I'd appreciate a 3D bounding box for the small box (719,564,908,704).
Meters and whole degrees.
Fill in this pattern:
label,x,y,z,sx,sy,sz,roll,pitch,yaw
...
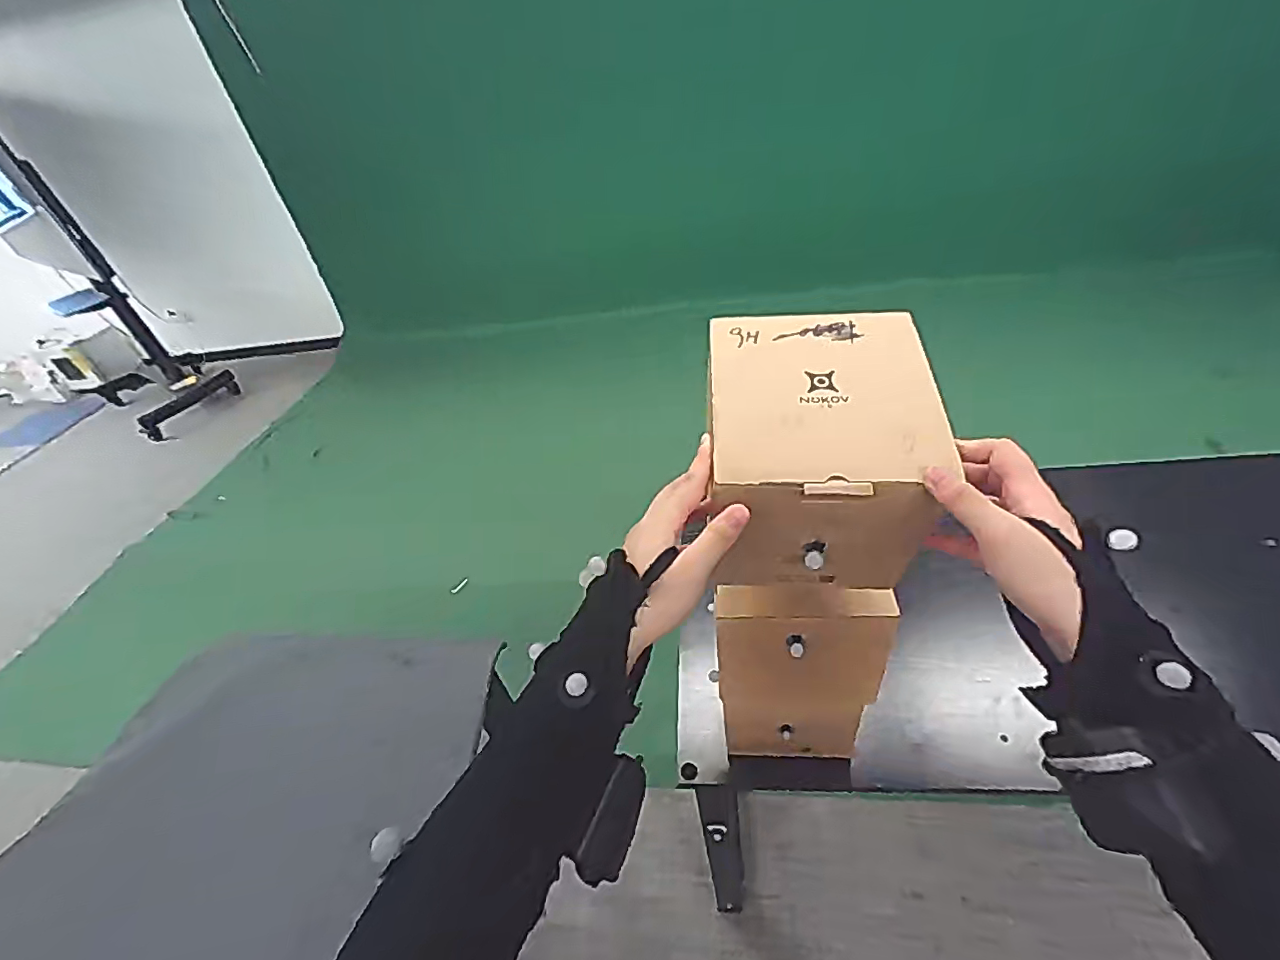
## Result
label,x,y,z,sx,sy,sz,roll,pitch,yaw
small box,0.182,0.142,0.625,0.179,0.176,0.168,-4,40,9

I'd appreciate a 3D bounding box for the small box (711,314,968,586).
label,x,y,z,sx,sy,sz,roll,pitch,yaw
small box,0.147,-0.018,0.470,0.168,0.176,0.179,0,56,7

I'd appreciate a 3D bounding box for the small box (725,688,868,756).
label,x,y,z,sx,sy,sz,roll,pitch,yaw
small box,0.202,0.256,0.740,0.168,0.176,0.179,-3,39,9
